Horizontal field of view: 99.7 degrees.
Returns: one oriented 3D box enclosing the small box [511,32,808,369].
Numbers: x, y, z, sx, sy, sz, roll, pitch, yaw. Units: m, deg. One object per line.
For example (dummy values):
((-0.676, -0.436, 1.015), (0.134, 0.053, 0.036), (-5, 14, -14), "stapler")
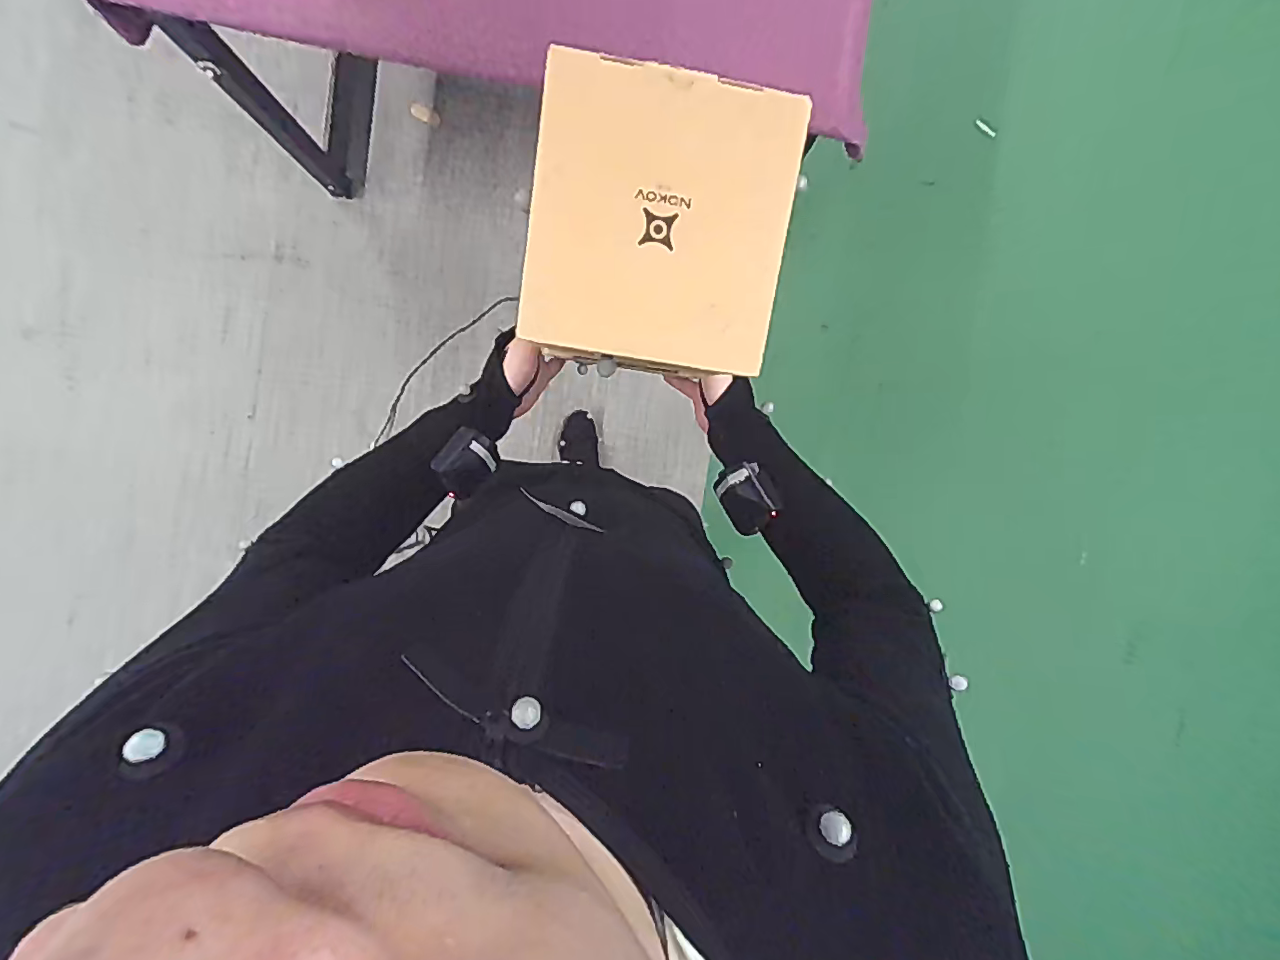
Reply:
((0.008, -0.185, 0.417), (0.168, 0.176, 0.179), (8, 100, -4), "small box")
